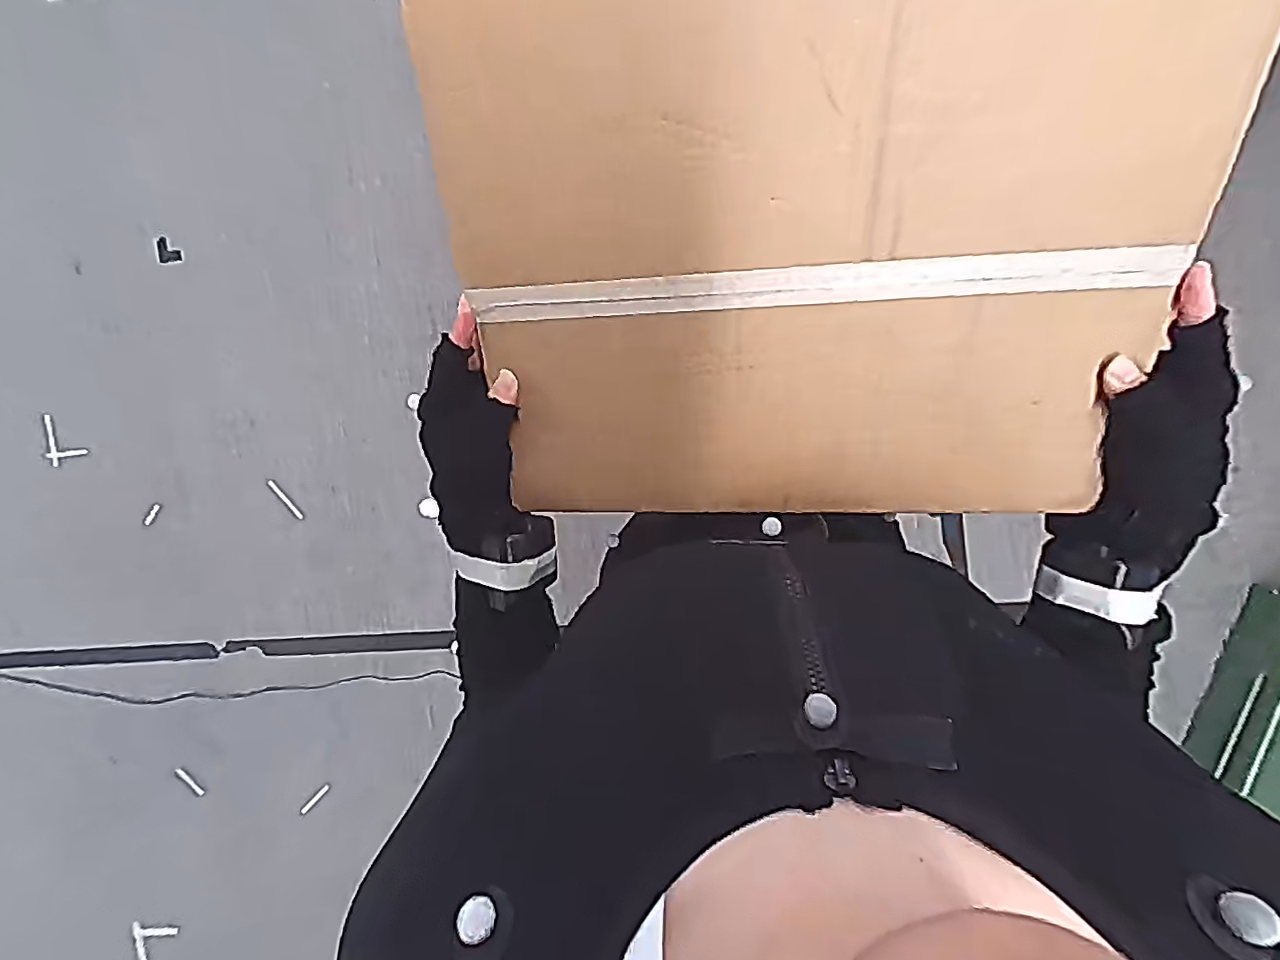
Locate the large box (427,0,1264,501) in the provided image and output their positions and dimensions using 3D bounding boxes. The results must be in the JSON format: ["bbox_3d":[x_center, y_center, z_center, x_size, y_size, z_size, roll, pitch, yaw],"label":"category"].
[{"bbox_3d":[0.109,-0.192,0.454,0.408,0.320,0.320,0,120,8],"label":"large box"}]
